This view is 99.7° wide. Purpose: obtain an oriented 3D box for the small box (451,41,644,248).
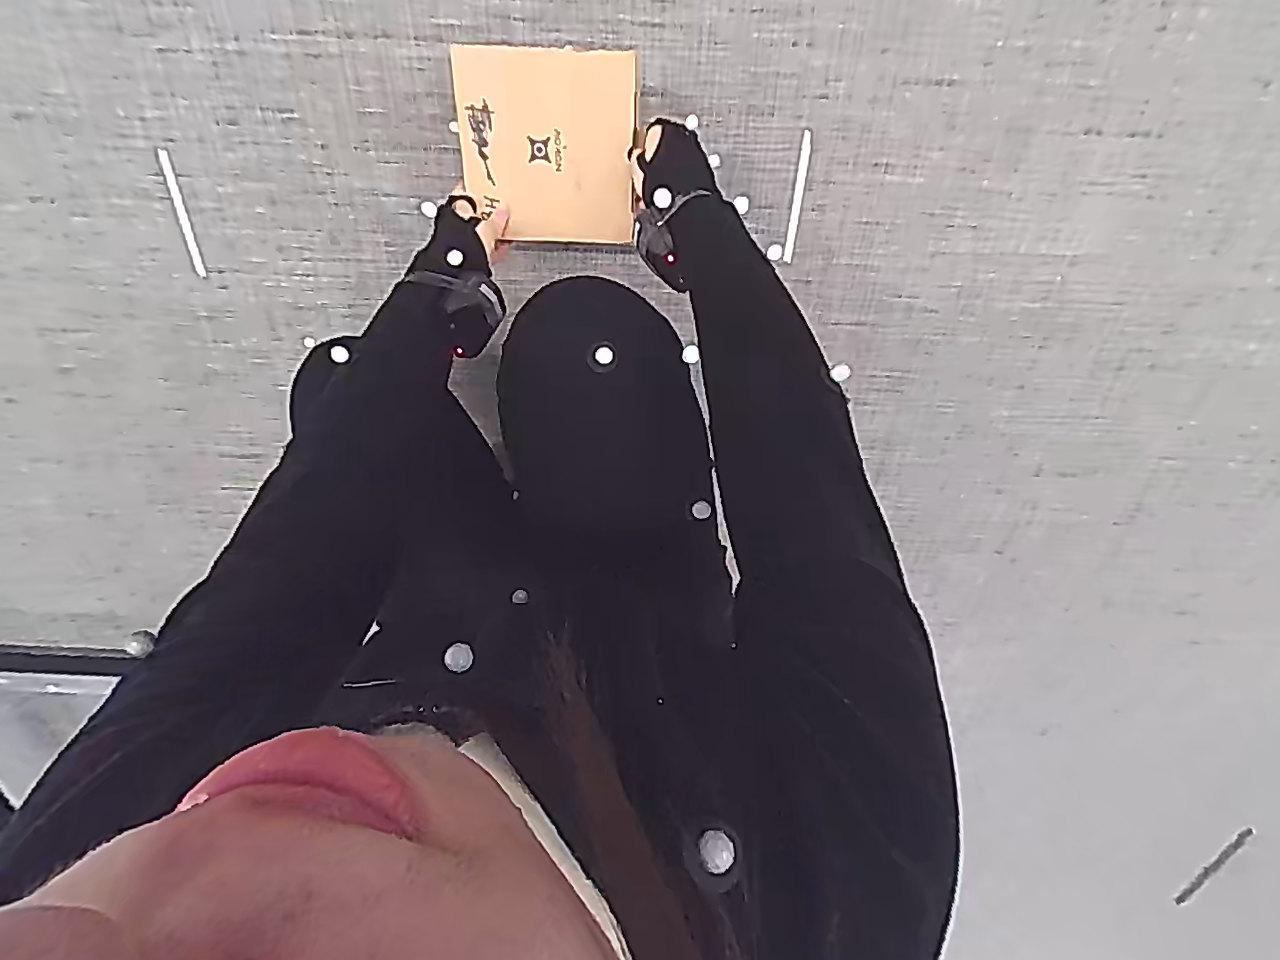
[{"bbox_3d":[-0.089,-0.357,0.592,0.179,0.176,0.168,2,119,-2],"label":"small box"}]
